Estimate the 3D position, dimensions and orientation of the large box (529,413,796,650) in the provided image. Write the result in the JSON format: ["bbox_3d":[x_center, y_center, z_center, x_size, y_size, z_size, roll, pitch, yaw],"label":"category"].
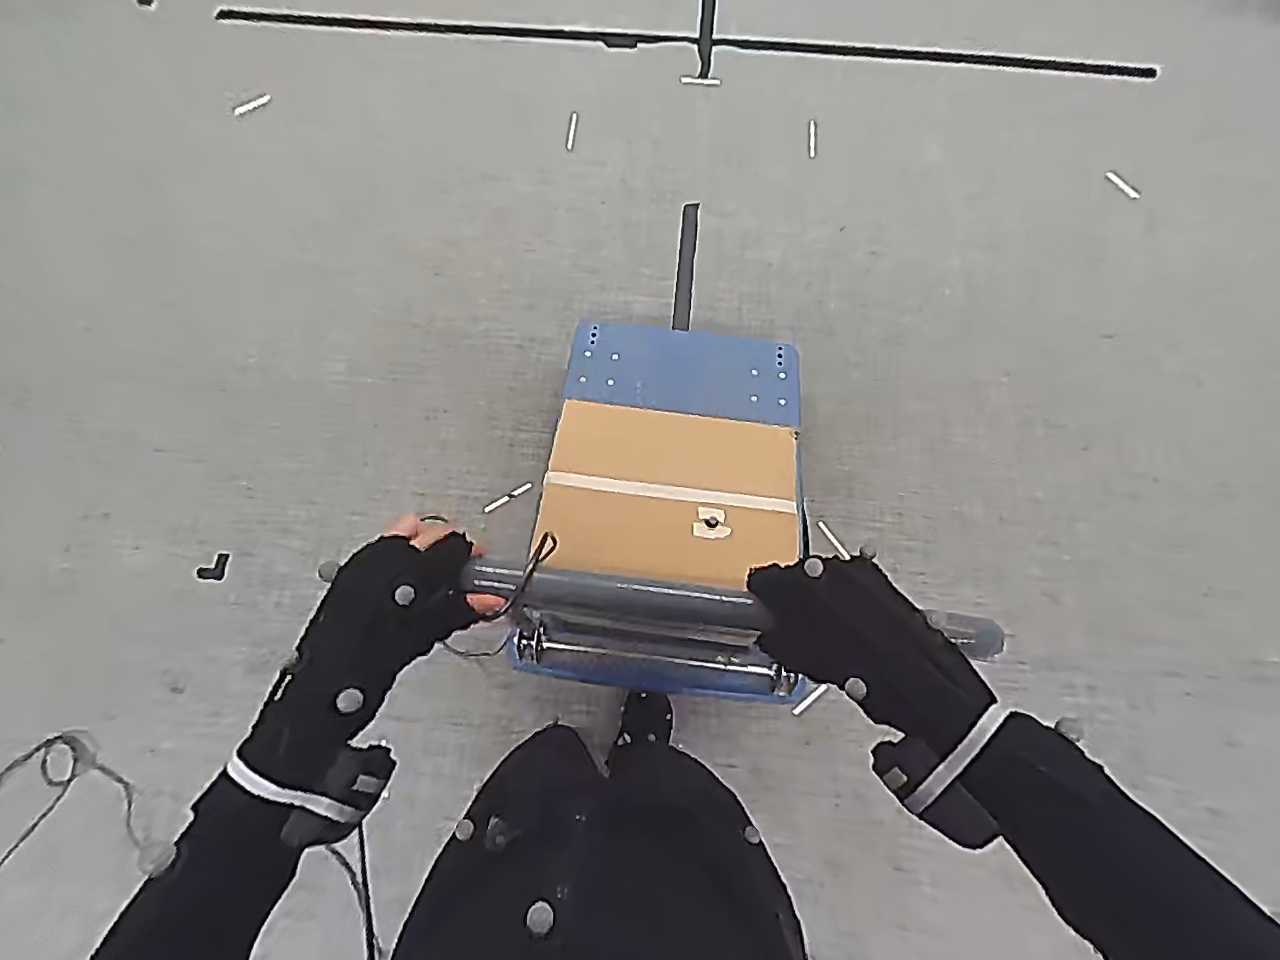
[{"bbox_3d":[0.039,0.108,0.990,0.408,0.320,0.320,8,63,1],"label":"large box"}]
